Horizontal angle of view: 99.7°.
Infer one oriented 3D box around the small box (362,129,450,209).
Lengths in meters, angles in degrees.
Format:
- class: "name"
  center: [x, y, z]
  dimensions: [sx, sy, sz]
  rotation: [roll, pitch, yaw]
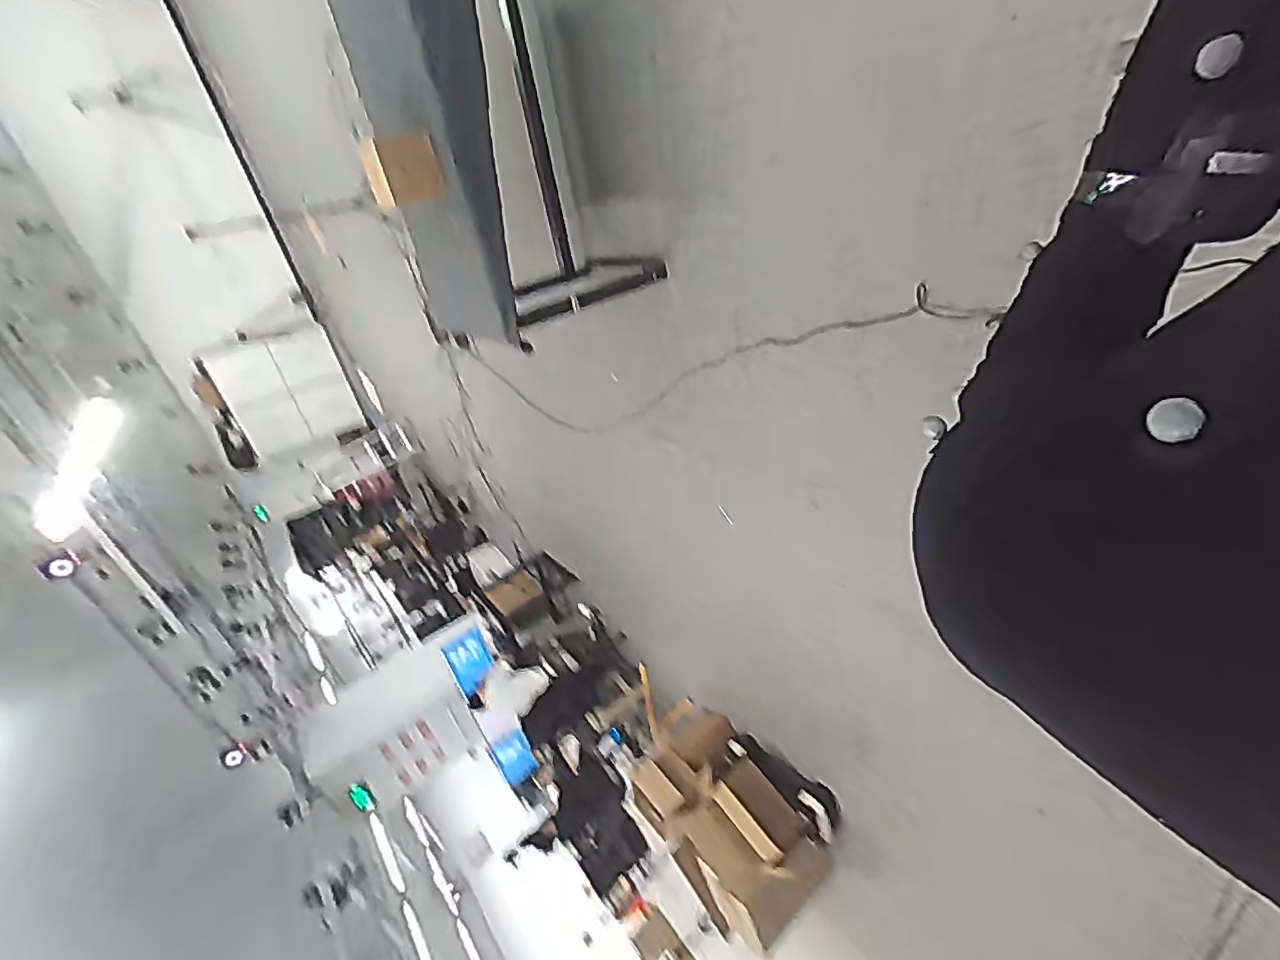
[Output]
- class: "small box"
  center: [-0.693, -0.924, 1.612]
  dimensions: [0.168, 0.176, 0.179]
  rotation: [24, 134, 46]
